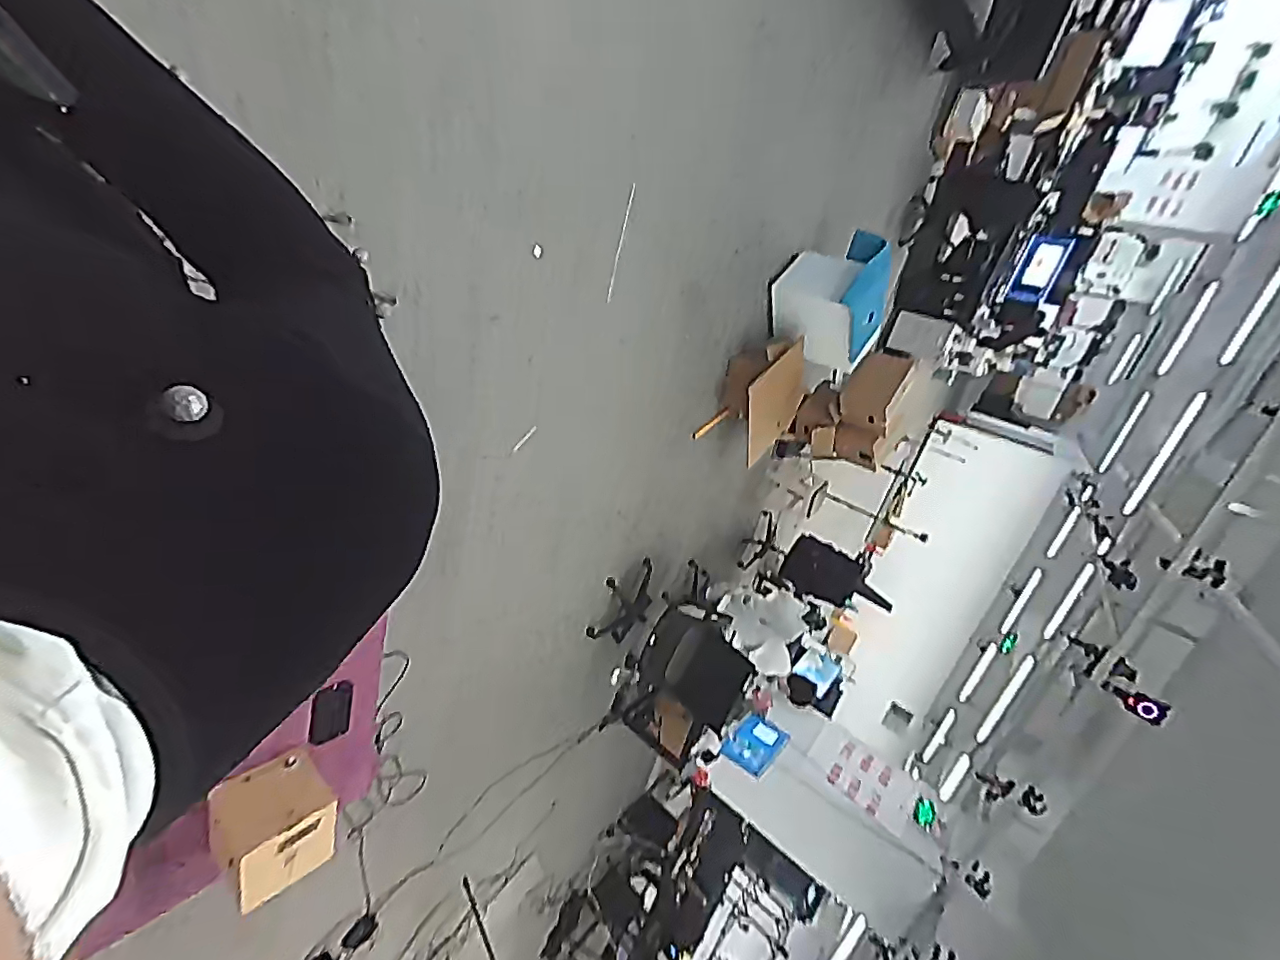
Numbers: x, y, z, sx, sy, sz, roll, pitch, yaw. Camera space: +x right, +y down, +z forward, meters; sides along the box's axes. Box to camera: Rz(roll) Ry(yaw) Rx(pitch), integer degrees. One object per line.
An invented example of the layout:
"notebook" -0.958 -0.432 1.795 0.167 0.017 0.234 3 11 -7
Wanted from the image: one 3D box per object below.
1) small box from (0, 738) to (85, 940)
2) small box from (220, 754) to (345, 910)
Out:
"small box" -0.869 0.489 0.714 0.168 0.176 0.179 -11 124 -52
"small box" -0.719 0.690 1.089 0.168 0.176 0.179 -13 126 -50
